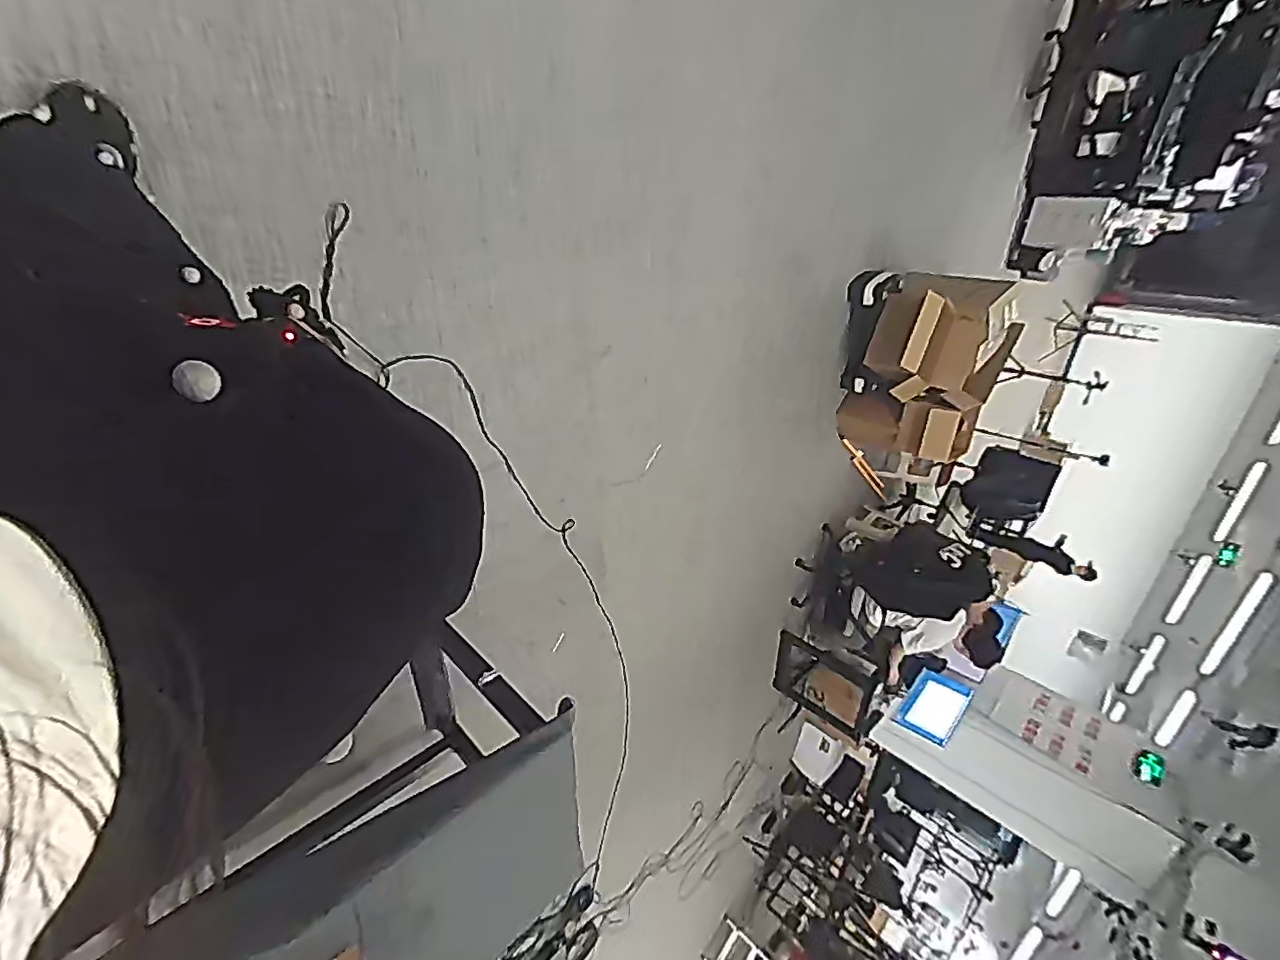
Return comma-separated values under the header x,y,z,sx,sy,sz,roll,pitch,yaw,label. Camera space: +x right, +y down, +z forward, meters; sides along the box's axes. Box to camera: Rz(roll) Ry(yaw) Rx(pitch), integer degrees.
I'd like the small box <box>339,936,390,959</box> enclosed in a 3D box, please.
x,y,z,sx,sy,sz,roll,pitch,yaw,label
-0.507,0.976,0.961,0.168,0.176,0.179,-23,125,-38,small box
